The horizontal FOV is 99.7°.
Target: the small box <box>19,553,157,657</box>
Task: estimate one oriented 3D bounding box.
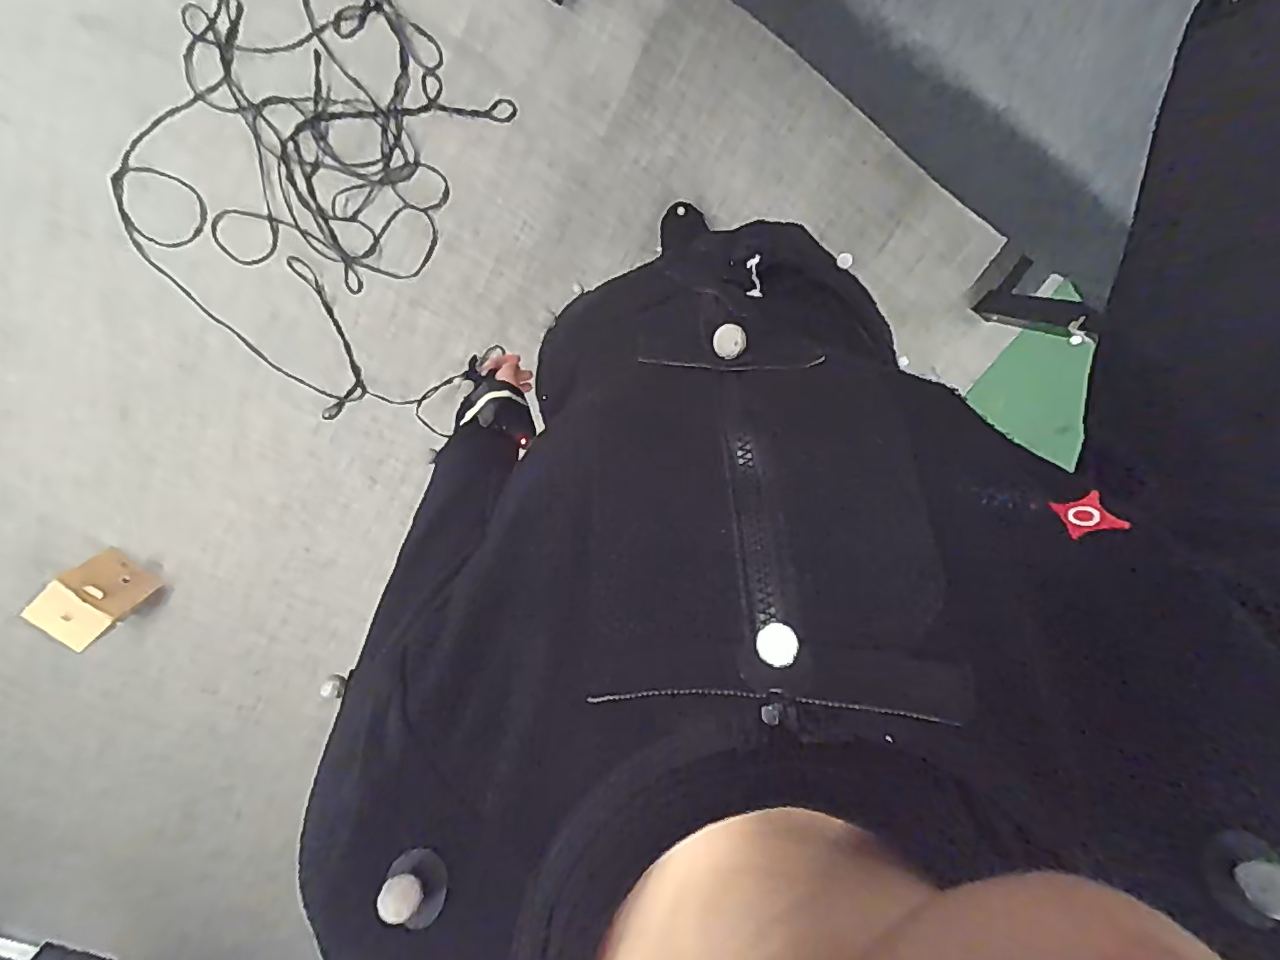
[{"bbox_3d":[-1.482,0.334,1.466,0.179,0.176,0.168,-37,107,14],"label":"small box"}]
